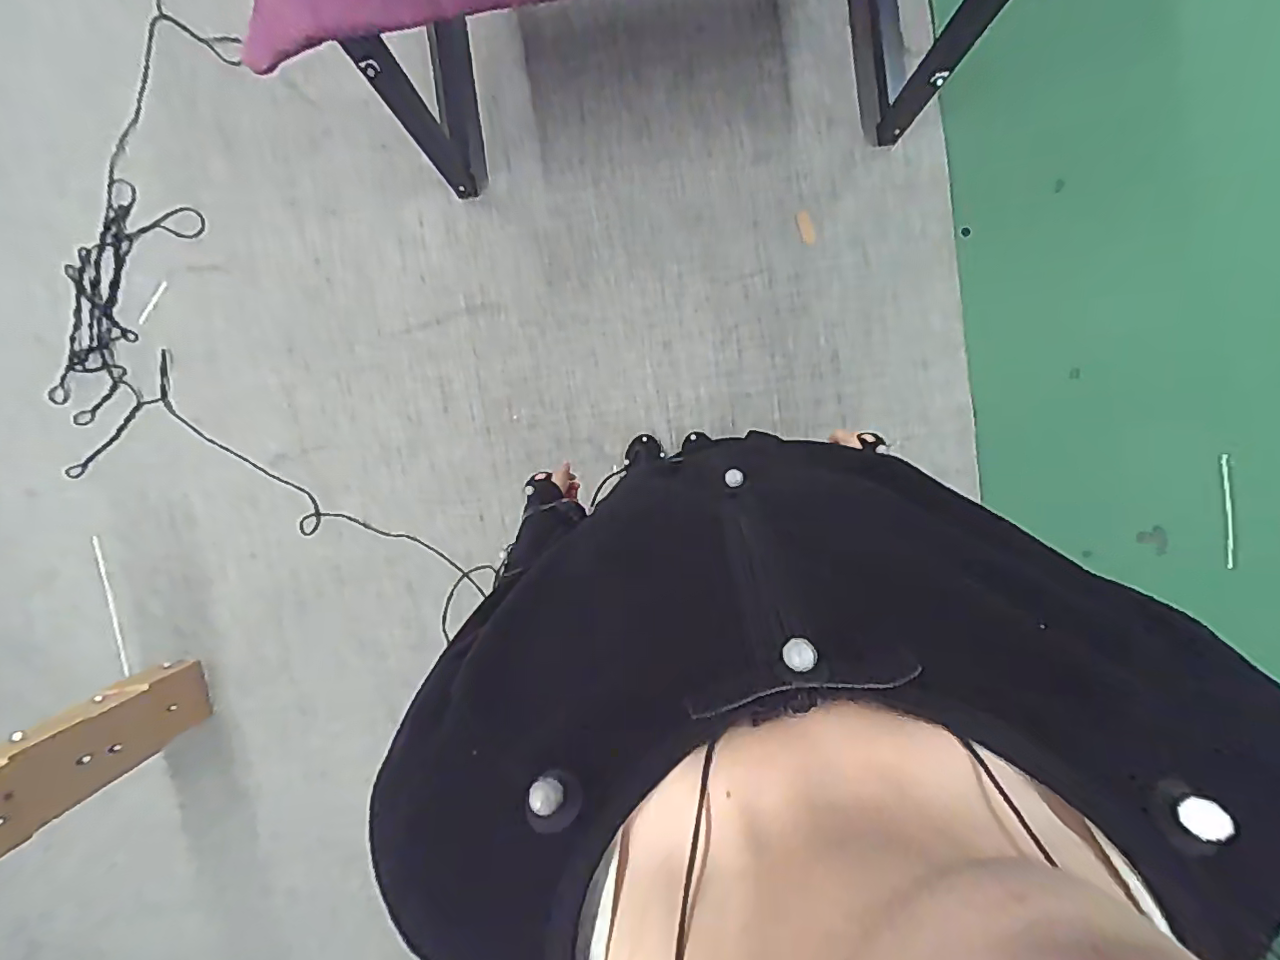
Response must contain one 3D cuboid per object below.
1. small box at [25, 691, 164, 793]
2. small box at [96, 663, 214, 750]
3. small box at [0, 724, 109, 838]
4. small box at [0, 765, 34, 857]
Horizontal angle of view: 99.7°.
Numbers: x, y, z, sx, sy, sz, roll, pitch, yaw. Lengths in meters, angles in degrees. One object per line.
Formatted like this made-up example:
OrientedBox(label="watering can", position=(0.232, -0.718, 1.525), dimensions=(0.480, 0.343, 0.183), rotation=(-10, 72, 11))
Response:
OrientedBox(label="small box", position=(-1.345, 0.656, 1.348), dimensions=(0.168, 0.176, 0.179), rotation=(-9, 93, 1))
OrientedBox(label="small box", position=(-1.342, 0.636, 1.510), dimensions=(0.168, 0.176, 0.179), rotation=(-9, 93, 2))
OrientedBox(label="small box", position=(-1.336, 0.659, 1.184), dimensions=(0.168, 0.176, 0.179), rotation=(-11, 93, 2))
OrientedBox(label="small box", position=(-1.335, 0.675, 1.022), dimensions=(0.179, 0.176, 0.168), rotation=(-12, 94, 1))
